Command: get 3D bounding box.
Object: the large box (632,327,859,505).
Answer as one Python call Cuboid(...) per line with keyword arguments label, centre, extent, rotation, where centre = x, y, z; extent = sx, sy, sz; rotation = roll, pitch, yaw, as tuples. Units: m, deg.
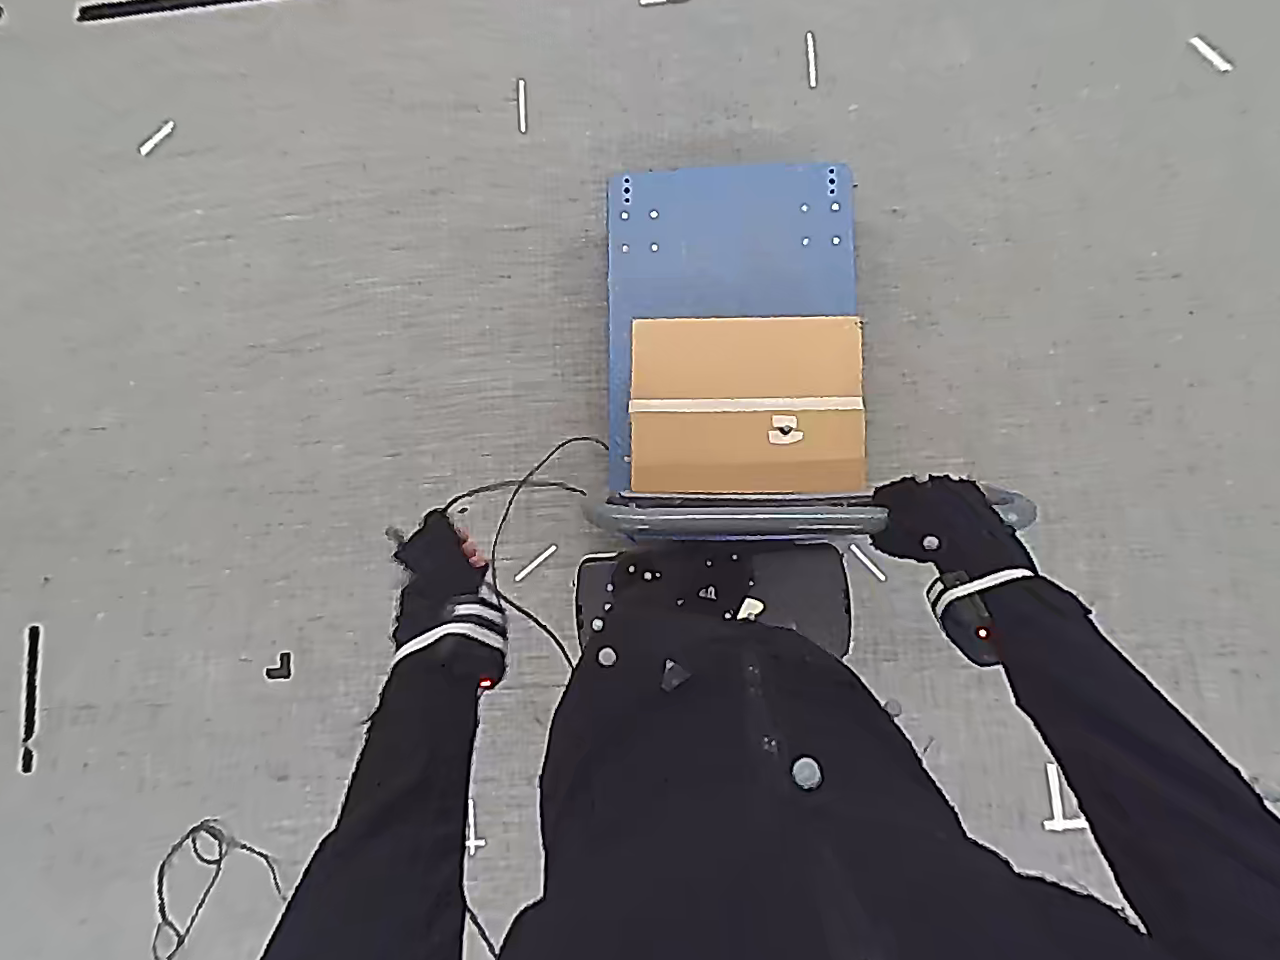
Cuboid(label="large box", centre=(0.192, -0.110, 1.120), extent=(0.408, 0.320, 0.320), rotation=(0, 87, 2))
